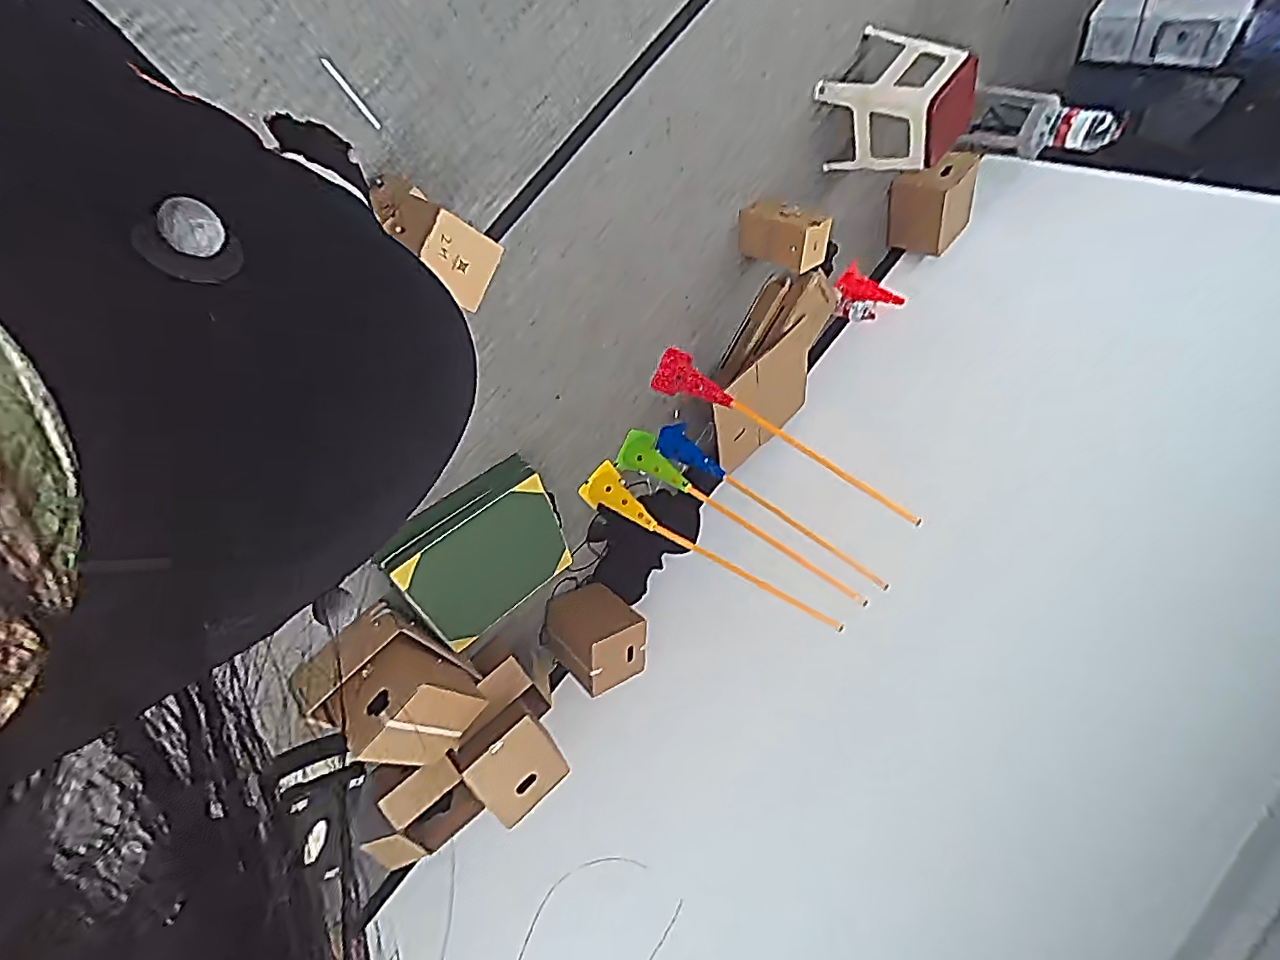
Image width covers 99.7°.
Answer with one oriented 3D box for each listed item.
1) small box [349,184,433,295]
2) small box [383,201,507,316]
[{"bbox_3d":[-0.564,-0.590,1.317,0.168,0.176,0.179,-51,147,-4],"label":"small box"},{"bbox_3d":[-0.447,-0.508,1.235,0.179,0.176,0.168,22,101,-53],"label":"small box"}]
